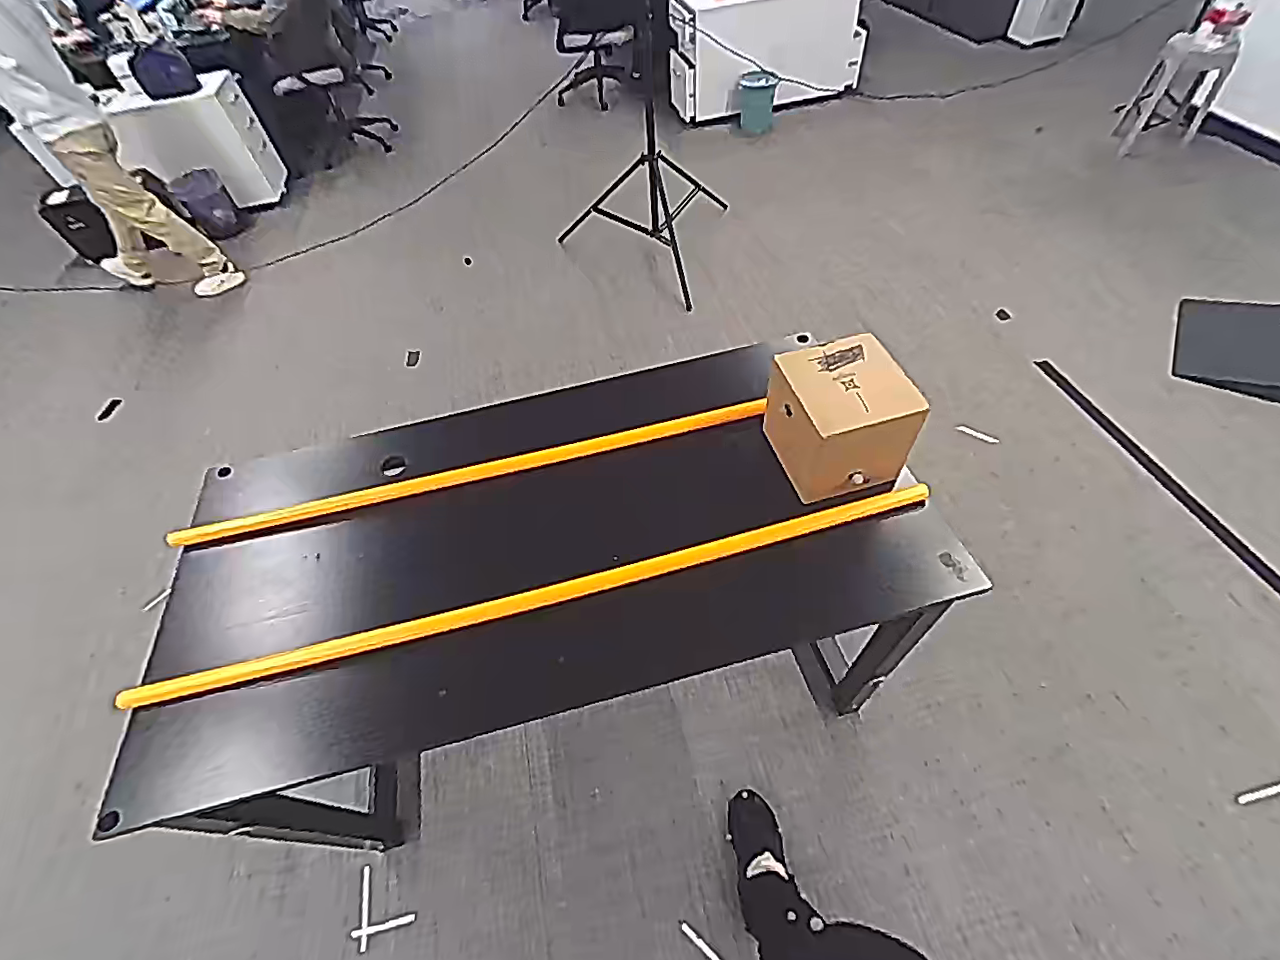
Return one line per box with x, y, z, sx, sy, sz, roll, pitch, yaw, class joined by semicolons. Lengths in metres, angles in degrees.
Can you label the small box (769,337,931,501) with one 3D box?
0.316;-0.095;0.864;0.168;0.176;0.179;-15;53;-4;small box
